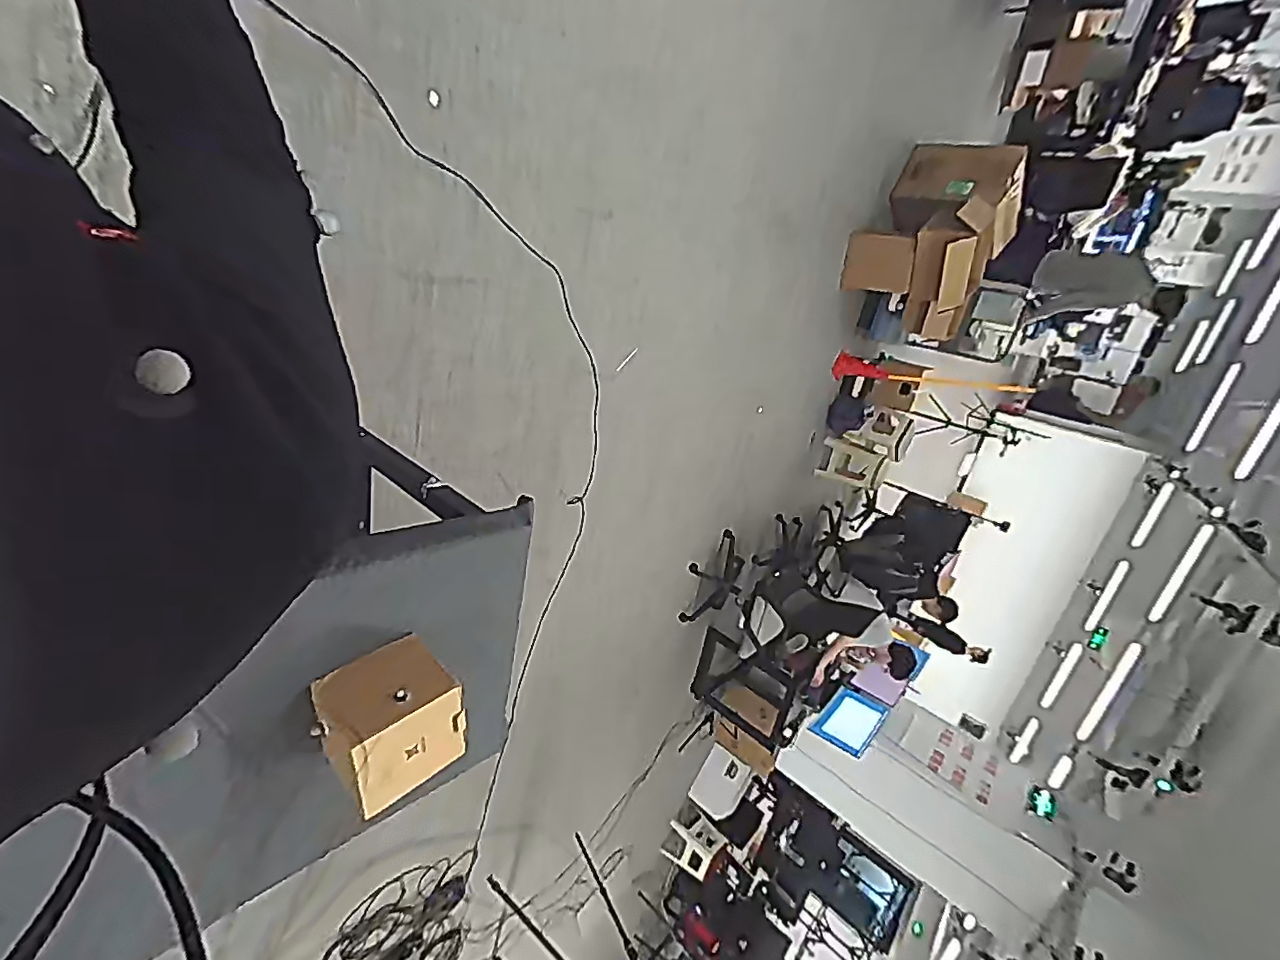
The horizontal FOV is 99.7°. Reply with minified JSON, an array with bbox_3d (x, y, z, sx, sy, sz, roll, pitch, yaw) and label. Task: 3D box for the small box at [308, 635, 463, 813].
[{"bbox_3d":[-0.422,0.394,0.909,0.179,0.176,0.168,-22,127,-43],"label":"small box"}]
